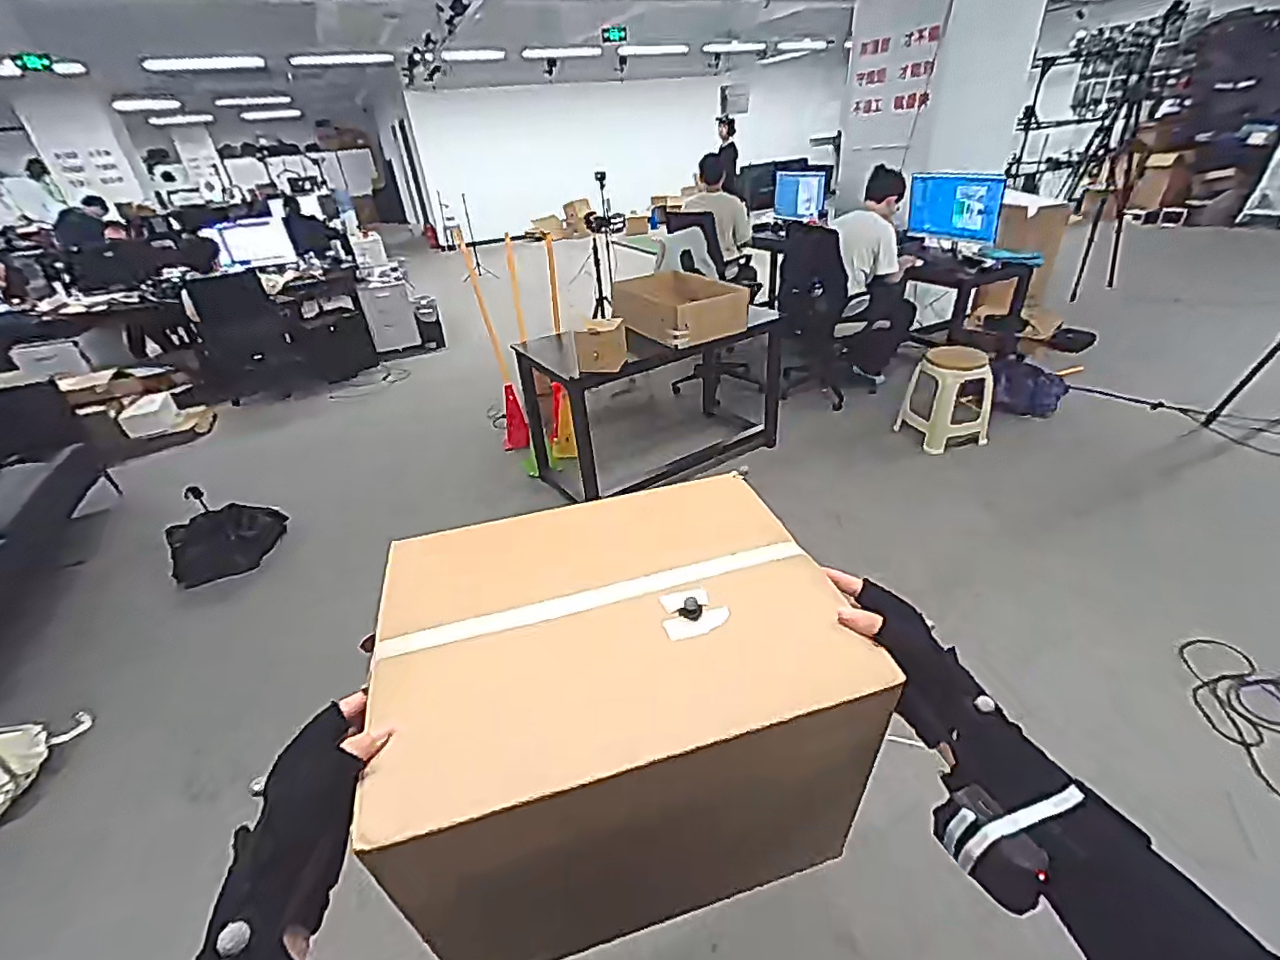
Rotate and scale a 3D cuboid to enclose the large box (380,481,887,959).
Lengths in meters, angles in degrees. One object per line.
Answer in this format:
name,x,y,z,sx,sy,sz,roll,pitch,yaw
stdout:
large box,-0.022,0.241,0.597,0.408,0.320,0.320,-11,35,-12
